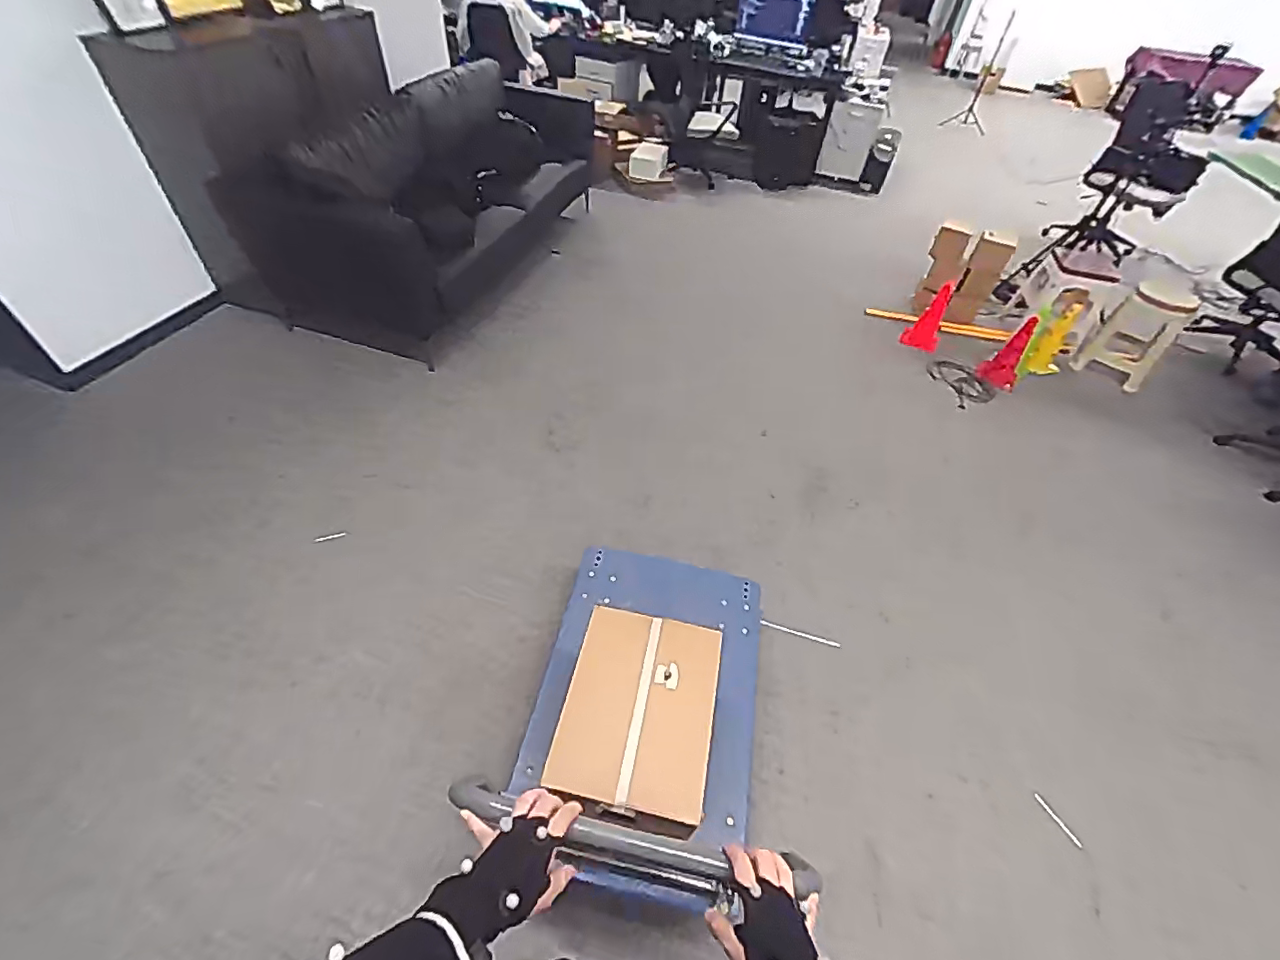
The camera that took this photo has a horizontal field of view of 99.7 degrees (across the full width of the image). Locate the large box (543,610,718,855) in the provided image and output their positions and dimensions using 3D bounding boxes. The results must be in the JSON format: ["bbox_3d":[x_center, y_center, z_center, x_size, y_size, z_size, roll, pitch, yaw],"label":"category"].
[{"bbox_3d":[-0.012,0.581,1.256,0.320,0.320,0.408,12,46,5],"label":"large box"}]
